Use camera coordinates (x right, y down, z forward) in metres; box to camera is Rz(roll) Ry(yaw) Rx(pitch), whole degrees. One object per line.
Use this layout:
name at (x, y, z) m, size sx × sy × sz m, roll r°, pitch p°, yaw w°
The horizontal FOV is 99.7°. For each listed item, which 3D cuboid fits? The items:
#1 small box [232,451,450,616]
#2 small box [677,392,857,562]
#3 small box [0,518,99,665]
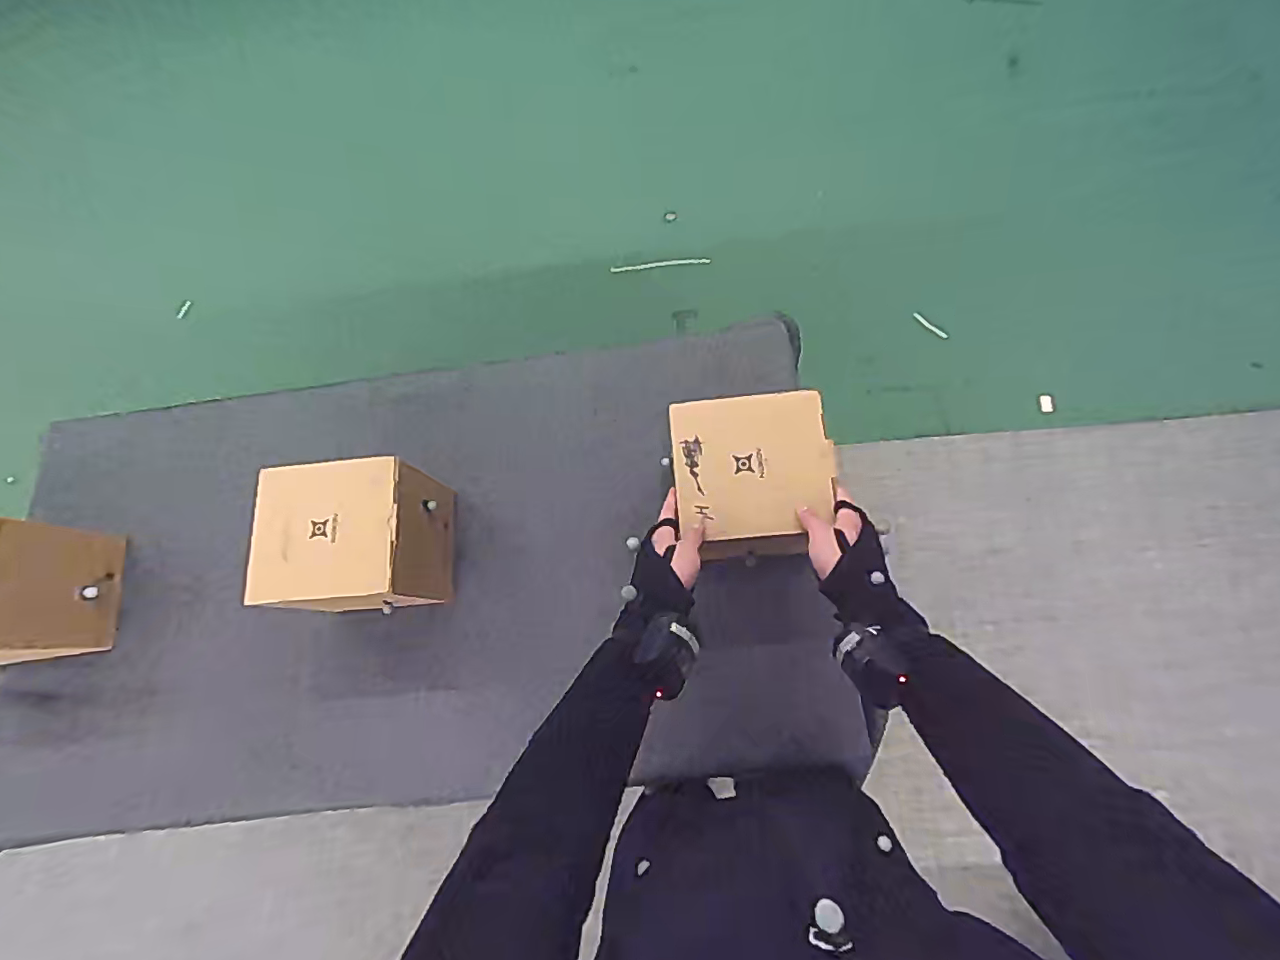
small box at (-0.351, 0.075, 0.673) m, size 0.179 × 0.176 × 0.168 m, roll -6°, pitch 72°, yaw 2°
small box at (0.141, 0.005, 0.668) m, size 0.179 × 0.176 × 0.168 m, roll -4°, pitch 73°, yaw 1°
small box at (-0.850, 0.146, 0.672) m, size 0.179 × 0.176 × 0.168 m, roll -7°, pitch 73°, yaw -1°
